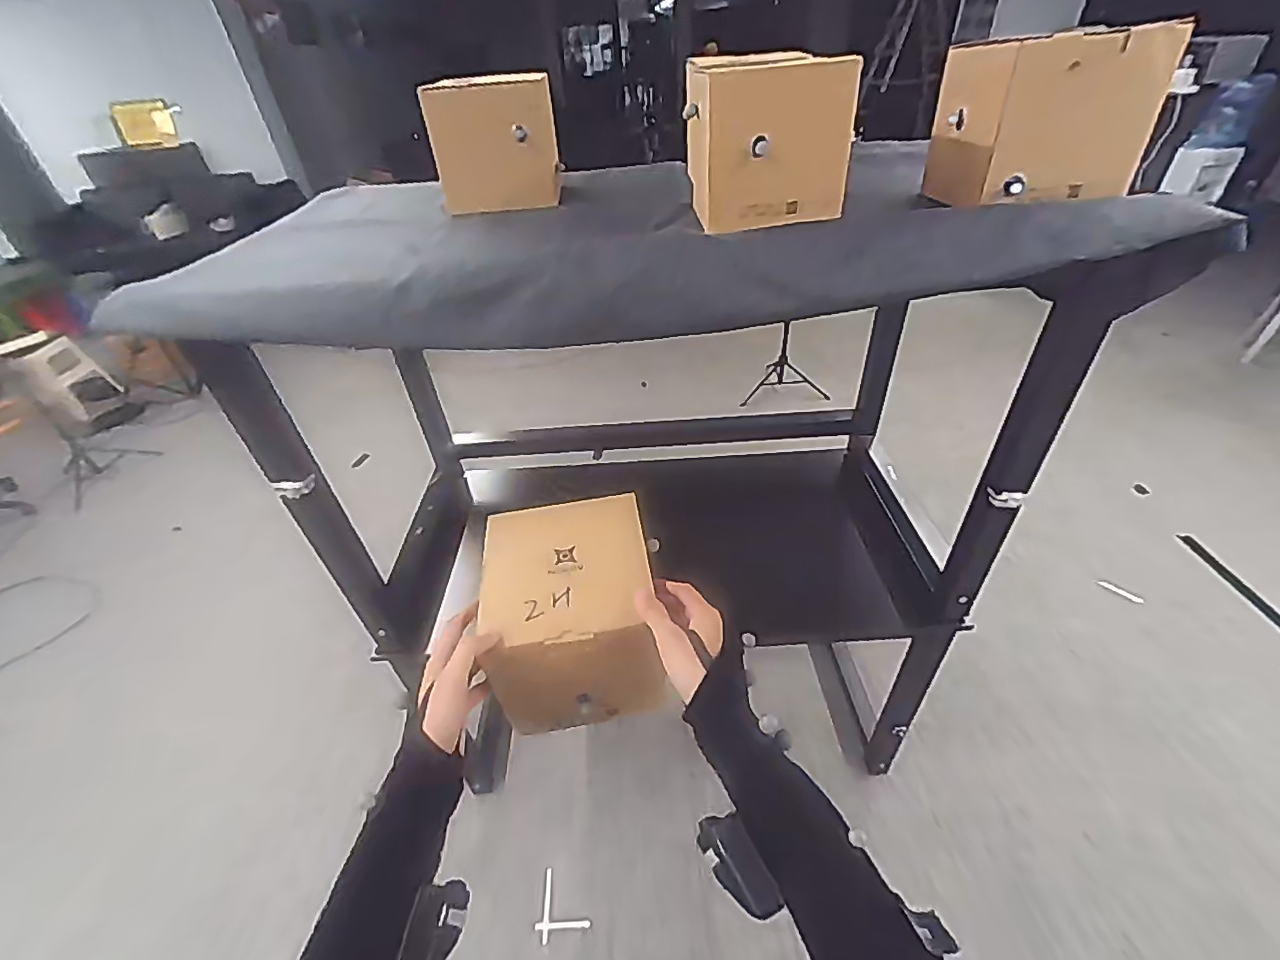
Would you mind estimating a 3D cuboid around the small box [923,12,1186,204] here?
[{"bbox_3d":[0.473,-0.440,0.656,0.168,0.176,0.179,-2,35,4],"label":"small box"}]

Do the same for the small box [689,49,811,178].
[{"bbox_3d":[0.169,-0.593,0.887,0.168,0.176,0.179,-4,38,1],"label":"small box"}]

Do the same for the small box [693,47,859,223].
[{"bbox_3d":[0.159,-0.433,0.688,0.168,0.176,0.179,-4,37,2],"label":"small box"}]
